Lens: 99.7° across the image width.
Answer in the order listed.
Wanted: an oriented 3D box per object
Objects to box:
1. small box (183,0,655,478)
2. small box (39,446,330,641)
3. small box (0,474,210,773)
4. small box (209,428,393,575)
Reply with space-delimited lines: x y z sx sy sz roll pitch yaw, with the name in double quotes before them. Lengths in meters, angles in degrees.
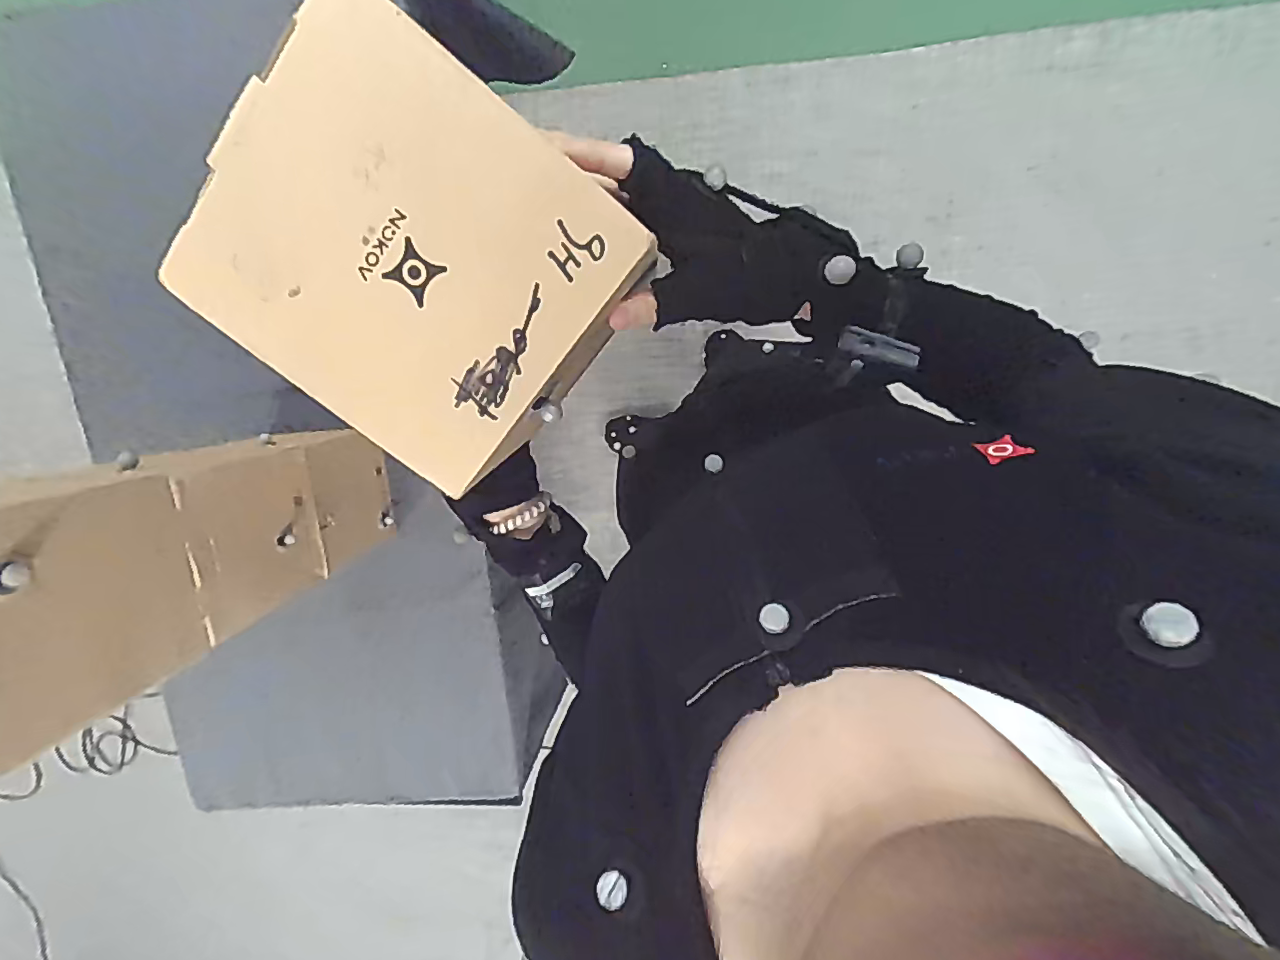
"small box" -0.107 -0.131 0.338 0.179 0.176 0.168 39 104 -7
"small box" -0.477 0.059 0.579 0.179 0.176 0.168 -3 102 6
"small box" -0.489 0.092 0.418 0.168 0.176 0.179 -2 102 6
"small box" -0.462 0.024 0.737 0.179 0.176 0.168 -3 102 7
